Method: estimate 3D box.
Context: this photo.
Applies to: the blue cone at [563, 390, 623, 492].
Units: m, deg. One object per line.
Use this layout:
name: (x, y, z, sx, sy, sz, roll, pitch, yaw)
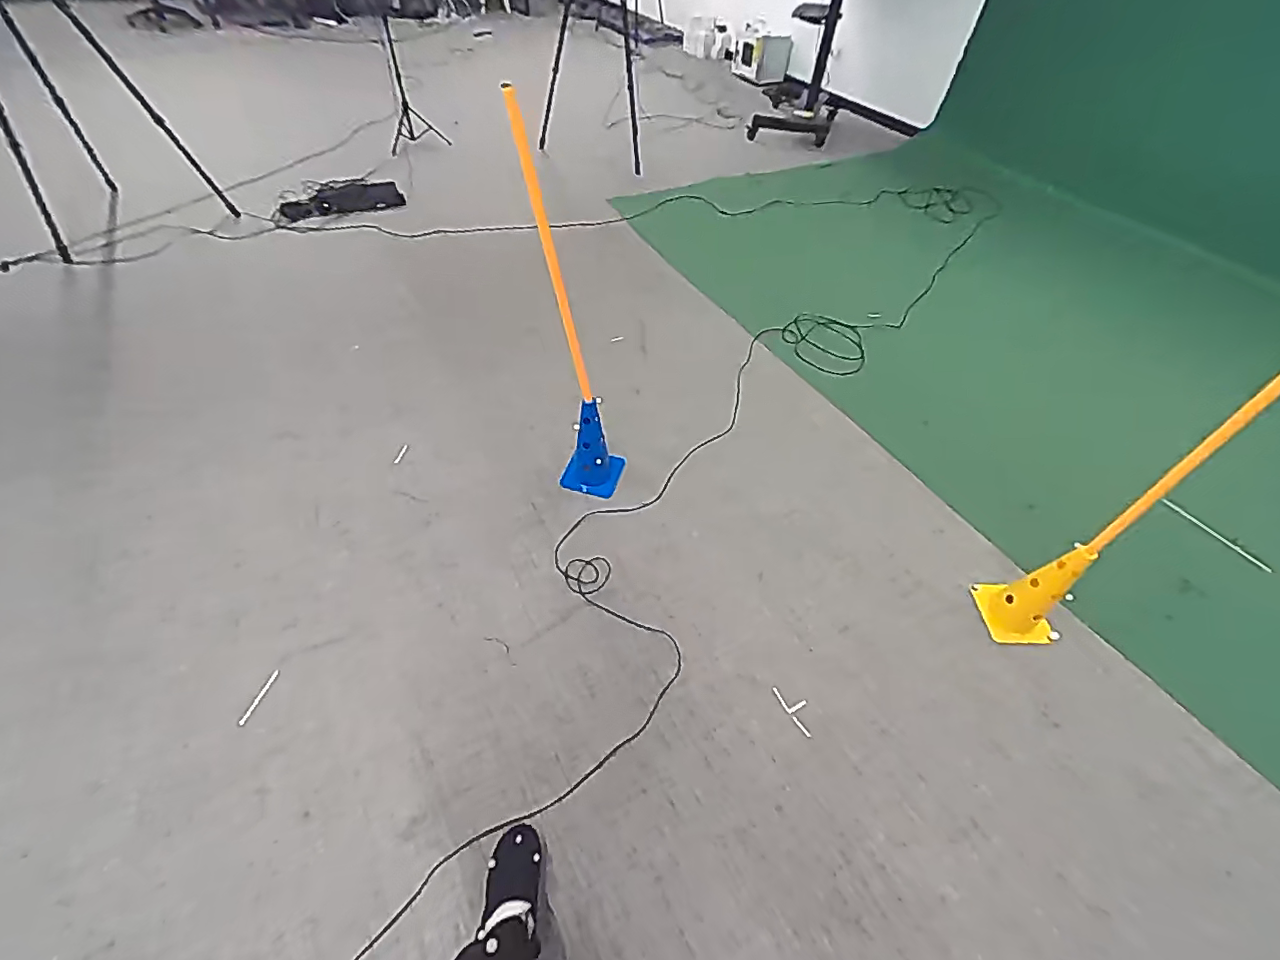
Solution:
blue cone: (-0.167, -0.144, 1.838, 0.193, 0.380, 0.192, 12, 51, 8)
